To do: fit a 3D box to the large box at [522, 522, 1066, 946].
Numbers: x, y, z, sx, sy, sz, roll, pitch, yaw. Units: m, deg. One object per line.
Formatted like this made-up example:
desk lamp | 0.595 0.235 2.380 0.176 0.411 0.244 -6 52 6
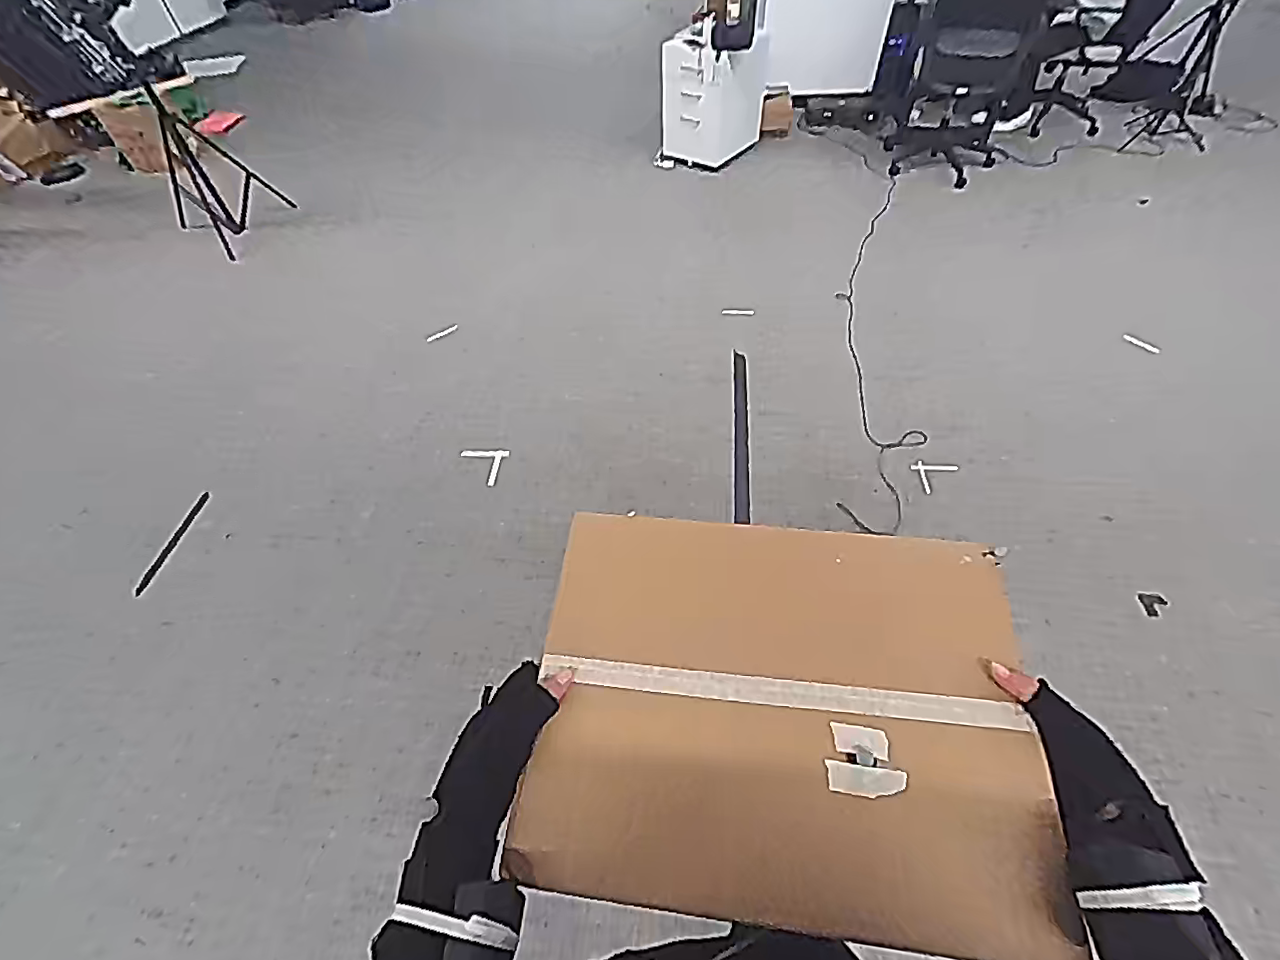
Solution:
large box | 0.126 0.265 0.600 0.408 0.320 0.320 4 58 7
